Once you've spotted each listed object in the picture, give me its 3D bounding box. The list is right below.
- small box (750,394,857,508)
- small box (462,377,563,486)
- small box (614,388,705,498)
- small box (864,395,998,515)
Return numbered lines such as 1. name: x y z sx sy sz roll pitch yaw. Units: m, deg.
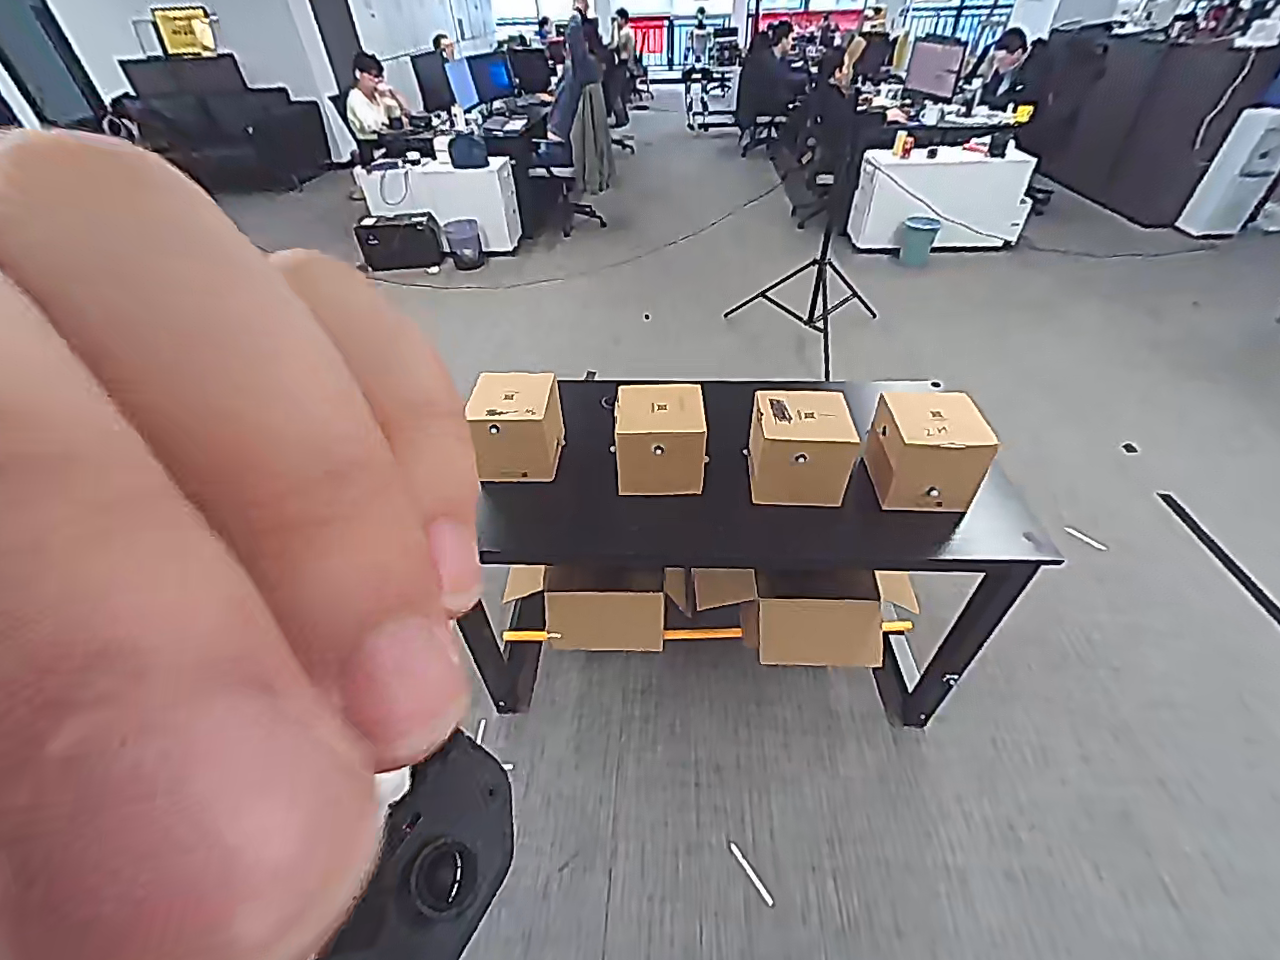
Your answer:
1. small box: 0.317 -0.057 1.093 0.179 0.176 0.168 2 42 5
2. small box: -0.266 -0.107 1.175 0.168 0.176 0.179 0 41 2
3. small box: 0.040 -0.076 1.130 0.179 0.176 0.168 -1 43 1
4. small box: 0.562 -0.052 1.074 0.168 0.176 0.179 1 41 6
